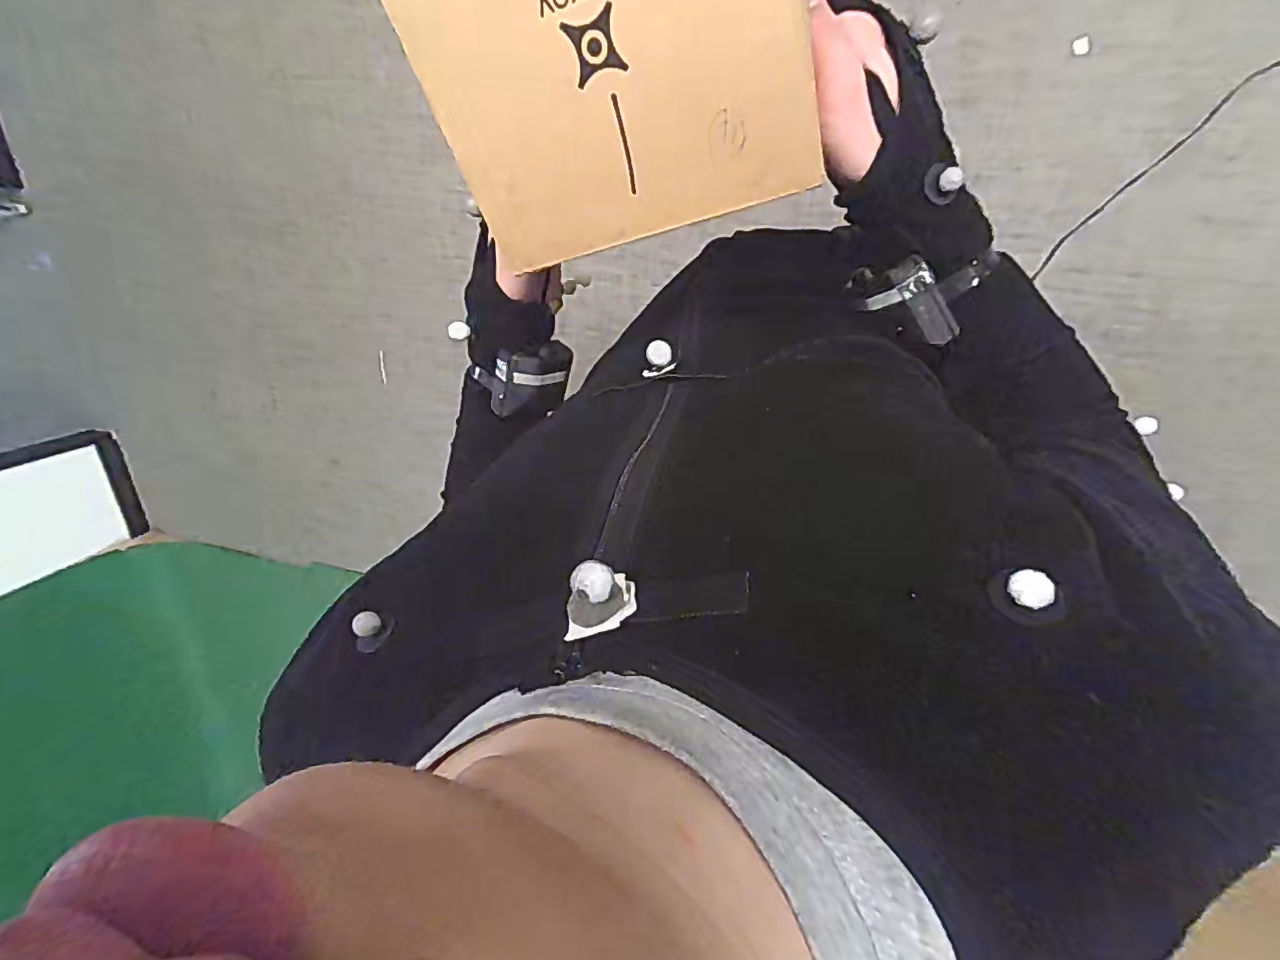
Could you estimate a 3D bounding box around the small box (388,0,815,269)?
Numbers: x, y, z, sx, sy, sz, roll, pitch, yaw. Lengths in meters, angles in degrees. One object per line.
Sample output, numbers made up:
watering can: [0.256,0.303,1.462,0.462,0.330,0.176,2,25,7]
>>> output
small box: [-0.008,-0.240,0.280,0.168,0.176,0.179,-7,130,18]
